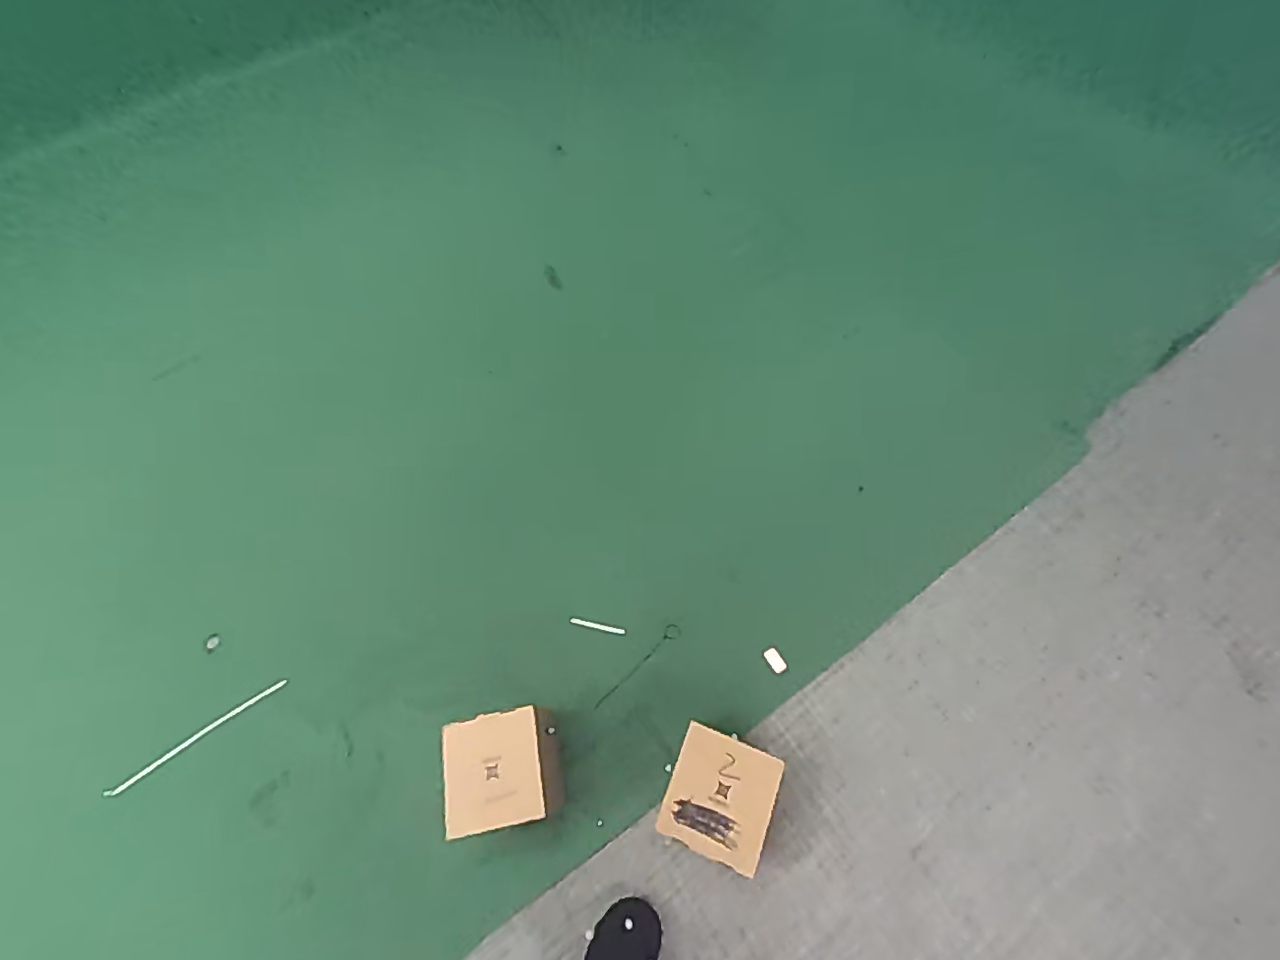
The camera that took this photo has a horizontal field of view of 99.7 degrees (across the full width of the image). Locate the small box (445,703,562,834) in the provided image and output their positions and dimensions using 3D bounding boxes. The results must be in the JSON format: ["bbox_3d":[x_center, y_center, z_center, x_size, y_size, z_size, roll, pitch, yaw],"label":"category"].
[{"bbox_3d":[-0.245,0.524,0.990,0.168,0.176,0.179,-12,63,-1],"label":"small box"}]
